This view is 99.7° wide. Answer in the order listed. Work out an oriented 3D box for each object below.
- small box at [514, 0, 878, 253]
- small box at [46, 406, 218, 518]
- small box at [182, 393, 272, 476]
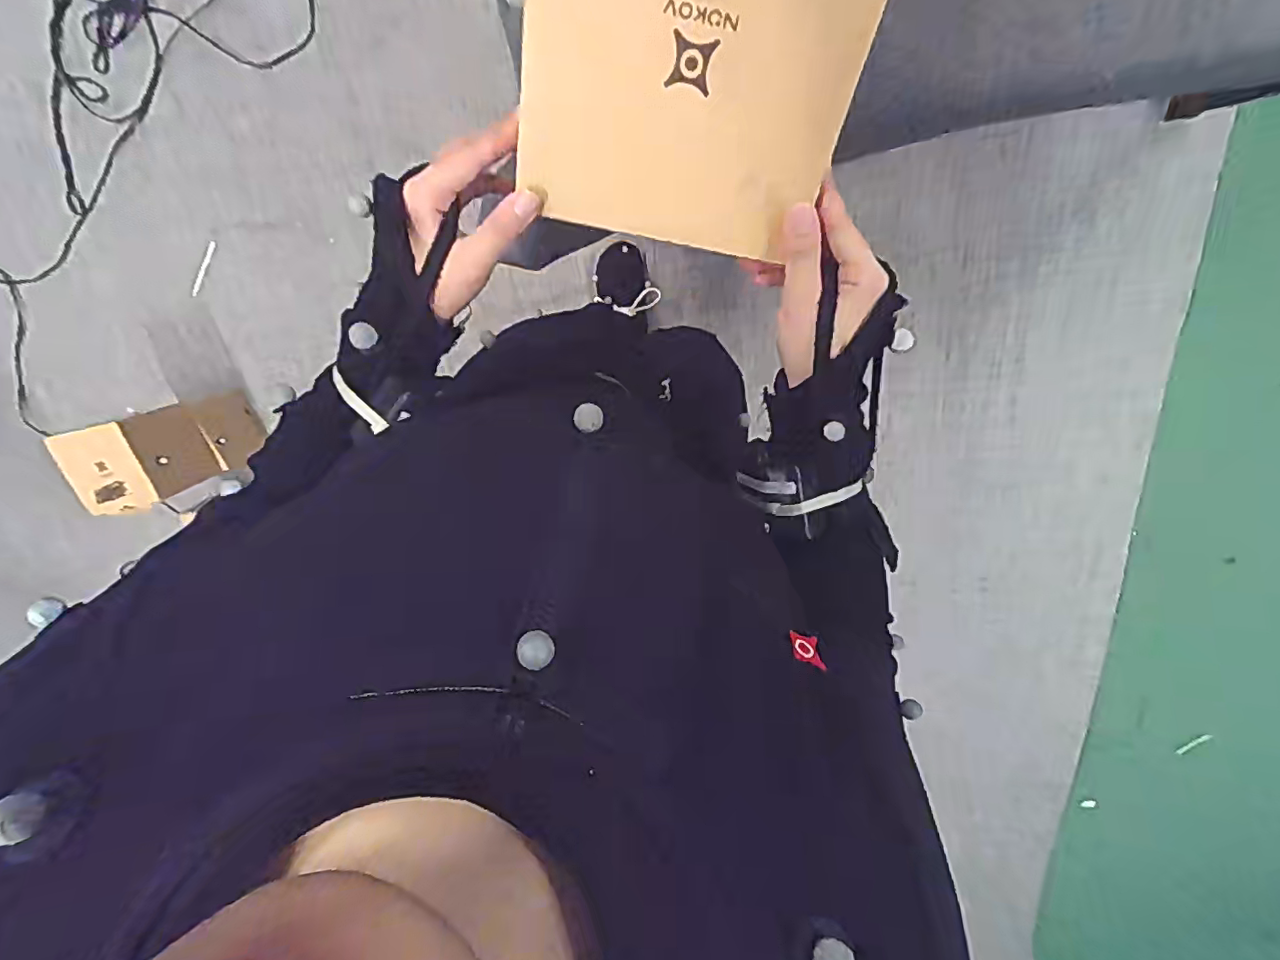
[{"bbox_3d":[0.027,-0.260,0.320,0.168,0.176,0.179,8,127,-5],"label":"small box"},{"bbox_3d":[-1.064,-0.043,1.154,0.168,0.176,0.179,-11,111,6],"label":"small box"},{"bbox_3d":[-1.052,-0.097,1.309,0.179,0.176,0.168,-16,111,8],"label":"small box"}]
